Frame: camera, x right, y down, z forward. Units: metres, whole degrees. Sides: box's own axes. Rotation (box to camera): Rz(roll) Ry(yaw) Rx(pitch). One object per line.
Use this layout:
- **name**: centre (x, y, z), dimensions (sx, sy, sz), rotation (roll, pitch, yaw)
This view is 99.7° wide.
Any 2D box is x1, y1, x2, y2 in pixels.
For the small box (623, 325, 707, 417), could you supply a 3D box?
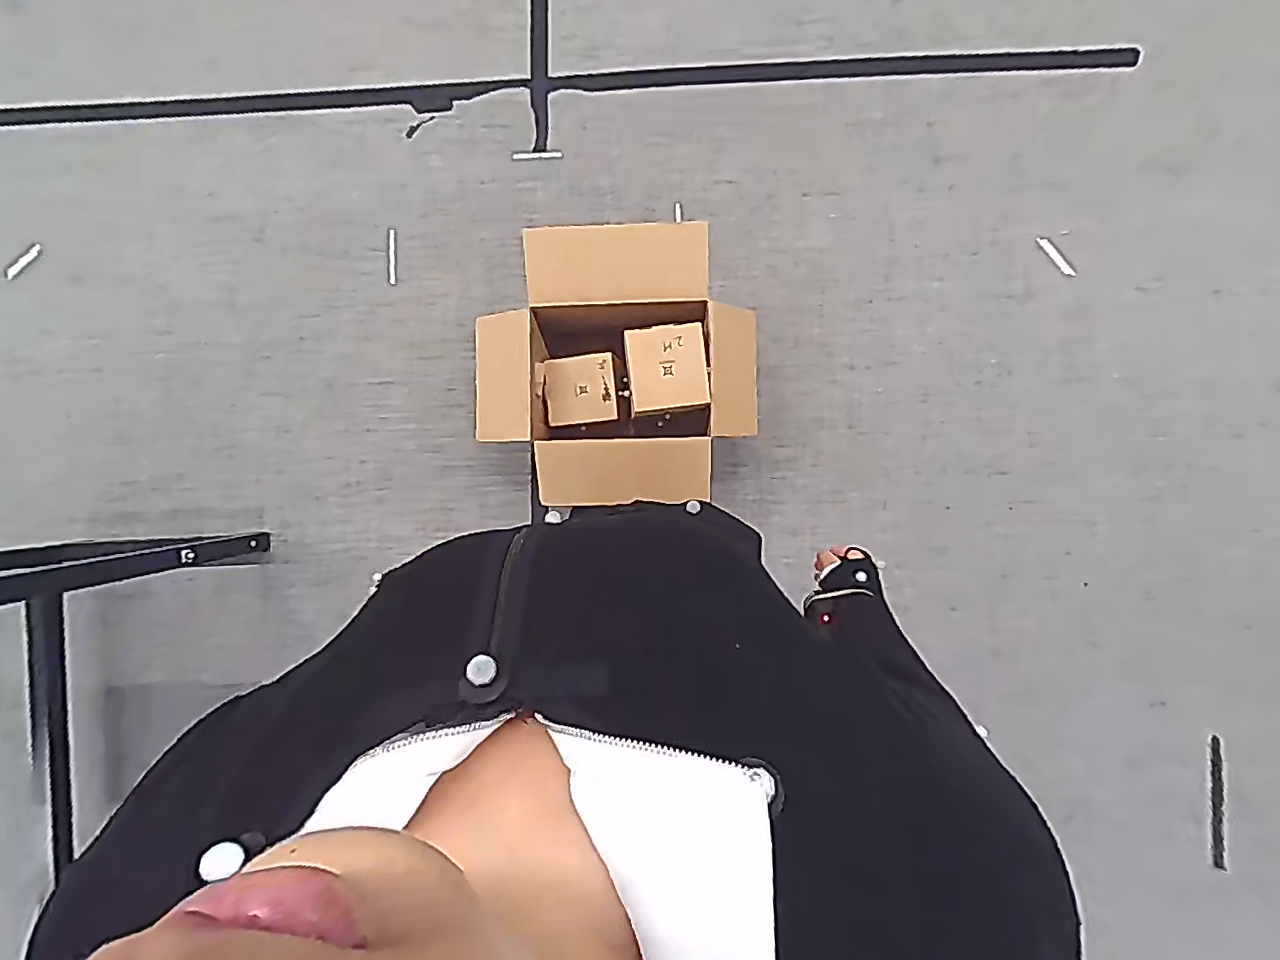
- **small box**: centre (0.053, -0.238, 1.226), dimensions (0.168, 0.176, 0.179), rotation (-7, 91, -2)
